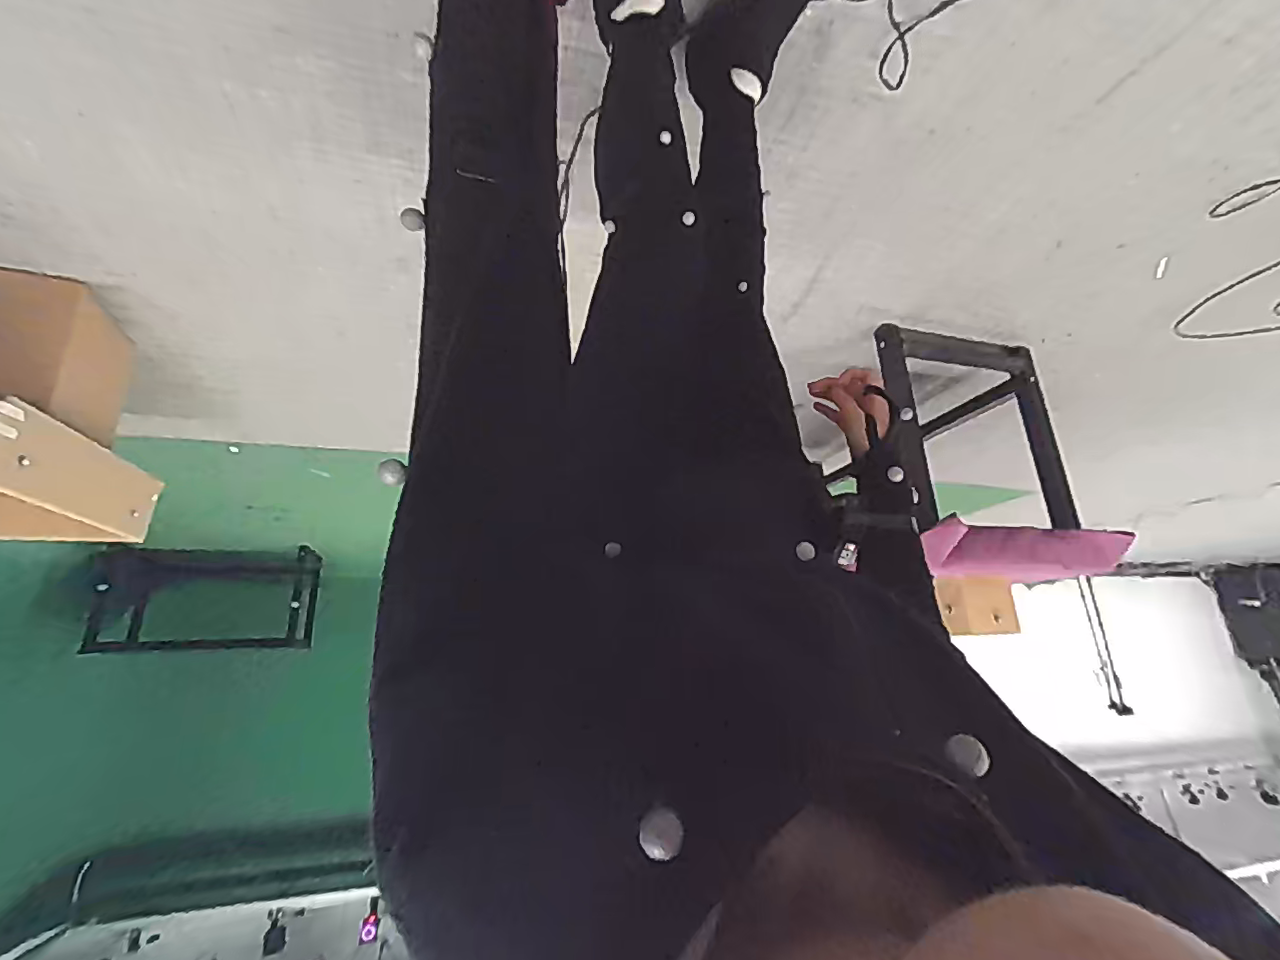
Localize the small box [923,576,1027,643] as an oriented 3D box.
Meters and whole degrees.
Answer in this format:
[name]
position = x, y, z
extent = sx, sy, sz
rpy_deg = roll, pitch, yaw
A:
[small box]
position = 0.954, 0.375, 1.556
extent = 0.179, 0.176, 0.168
rpy_deg = 2, 160, -14
